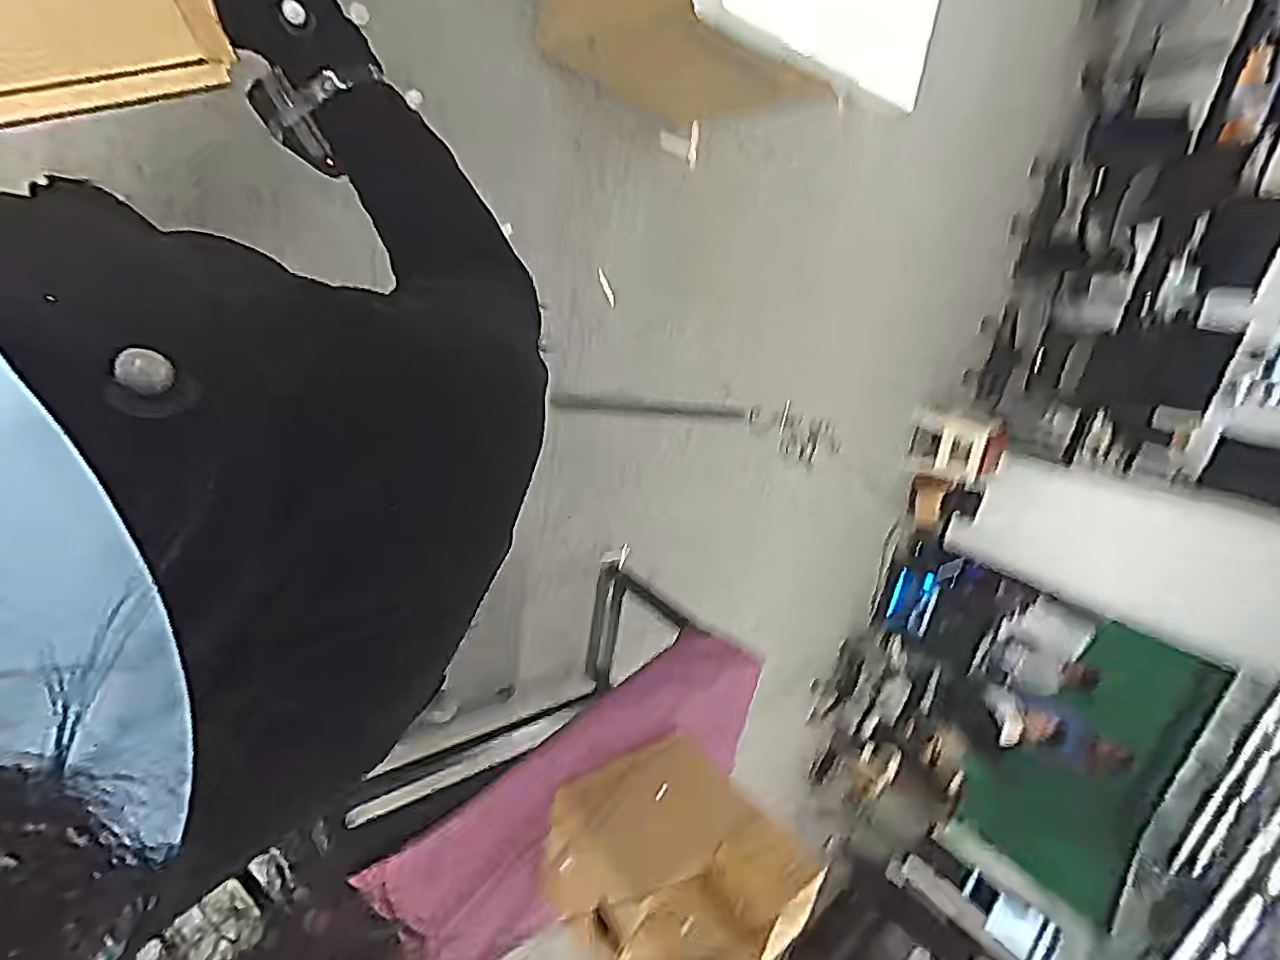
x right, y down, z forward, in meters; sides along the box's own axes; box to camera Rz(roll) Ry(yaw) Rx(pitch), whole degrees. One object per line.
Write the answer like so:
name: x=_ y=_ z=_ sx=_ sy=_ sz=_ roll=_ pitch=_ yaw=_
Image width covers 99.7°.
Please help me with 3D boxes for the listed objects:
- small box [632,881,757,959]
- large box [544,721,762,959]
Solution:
small box: x=0.098 y=0.959 z=1.070 sx=0.168 sy=0.176 sz=0.179 roll=-5 pitch=113 yaw=-43
large box: x=0.025 y=0.870 z=1.315 sx=0.408 sy=0.320 sz=0.320 roll=-5 pitch=115 yaw=-42
